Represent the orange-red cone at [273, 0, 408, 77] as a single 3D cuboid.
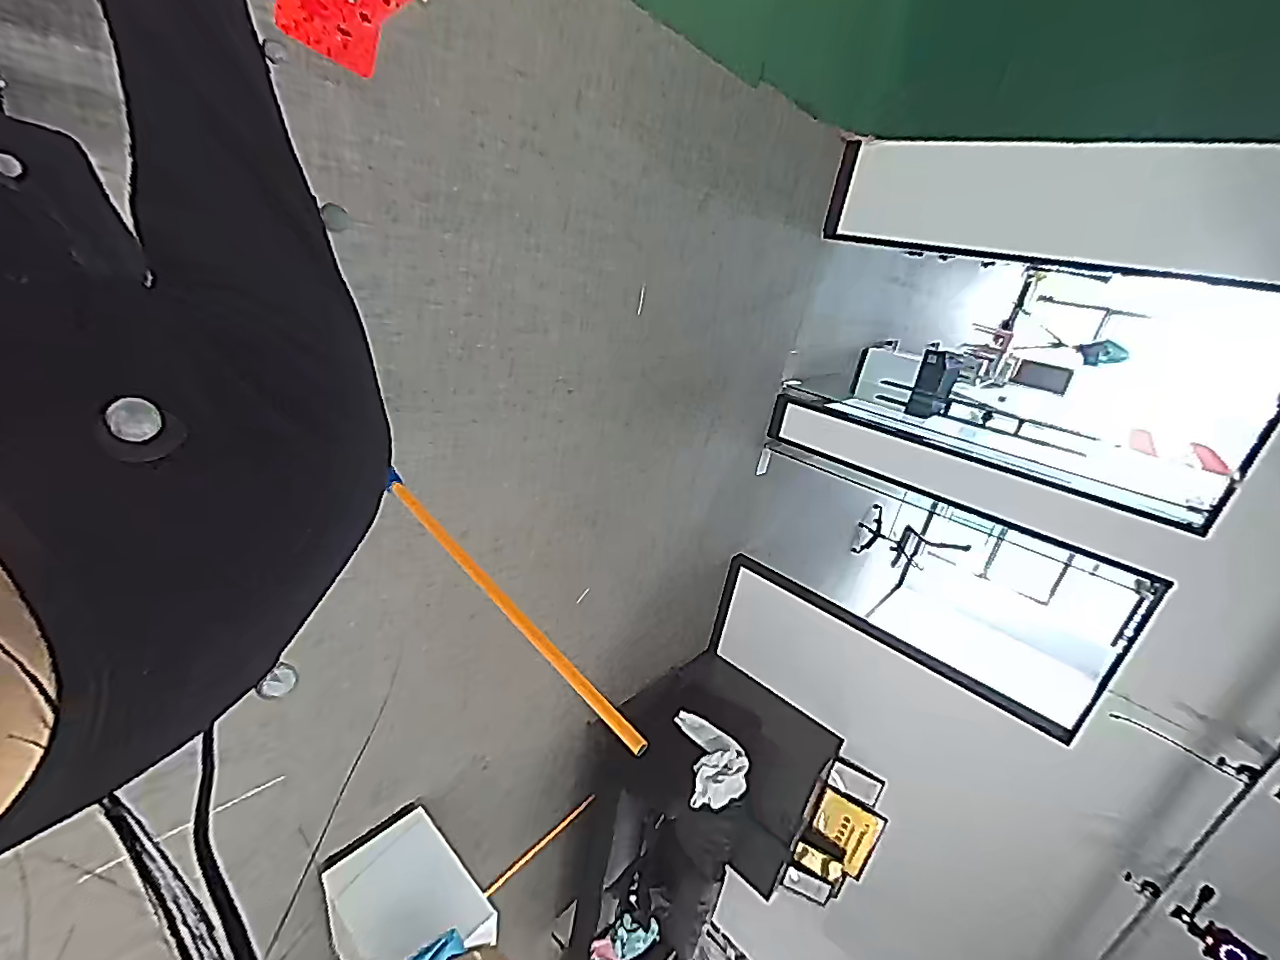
[{"bbox_3d":[-0.534,-0.947,1.054,0.198,0.360,0.199,2,111,-52],"label":"orange-red cone"}]
